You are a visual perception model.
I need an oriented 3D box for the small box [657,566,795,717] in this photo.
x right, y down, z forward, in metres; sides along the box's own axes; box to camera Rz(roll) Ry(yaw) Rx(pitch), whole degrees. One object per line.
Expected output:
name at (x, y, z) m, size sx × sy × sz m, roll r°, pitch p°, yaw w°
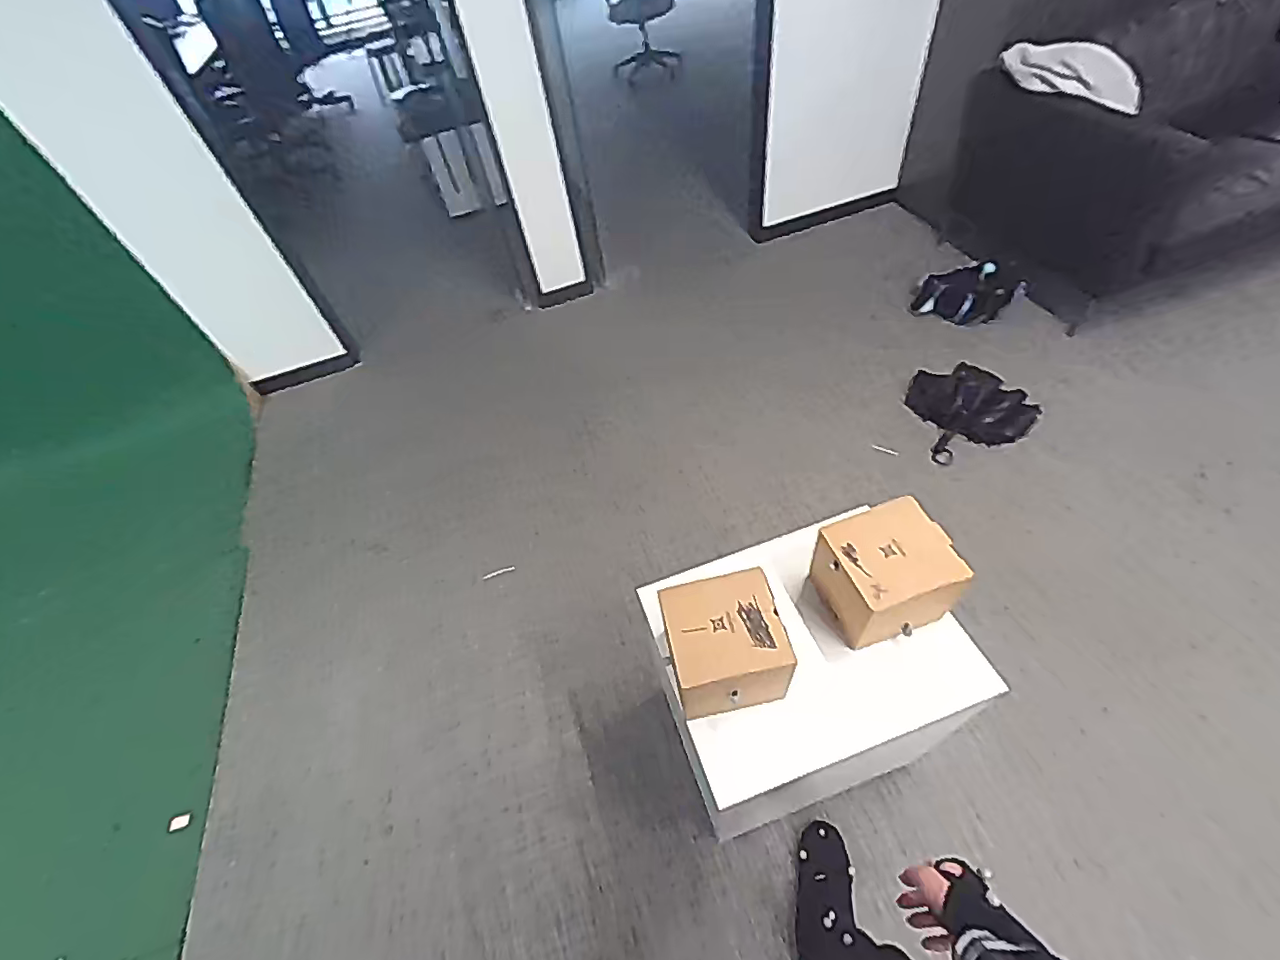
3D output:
small box at (0.128, 0.264, 0.873) m, size 0.179 × 0.176 × 0.168 m, roll -11°, pitch 50°, yaw -3°

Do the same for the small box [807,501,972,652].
small box at (0.408, 0.167, 0.922) m, size 0.179 × 0.176 × 0.168 m, roll -16°, pitch 51°, yaw -7°
